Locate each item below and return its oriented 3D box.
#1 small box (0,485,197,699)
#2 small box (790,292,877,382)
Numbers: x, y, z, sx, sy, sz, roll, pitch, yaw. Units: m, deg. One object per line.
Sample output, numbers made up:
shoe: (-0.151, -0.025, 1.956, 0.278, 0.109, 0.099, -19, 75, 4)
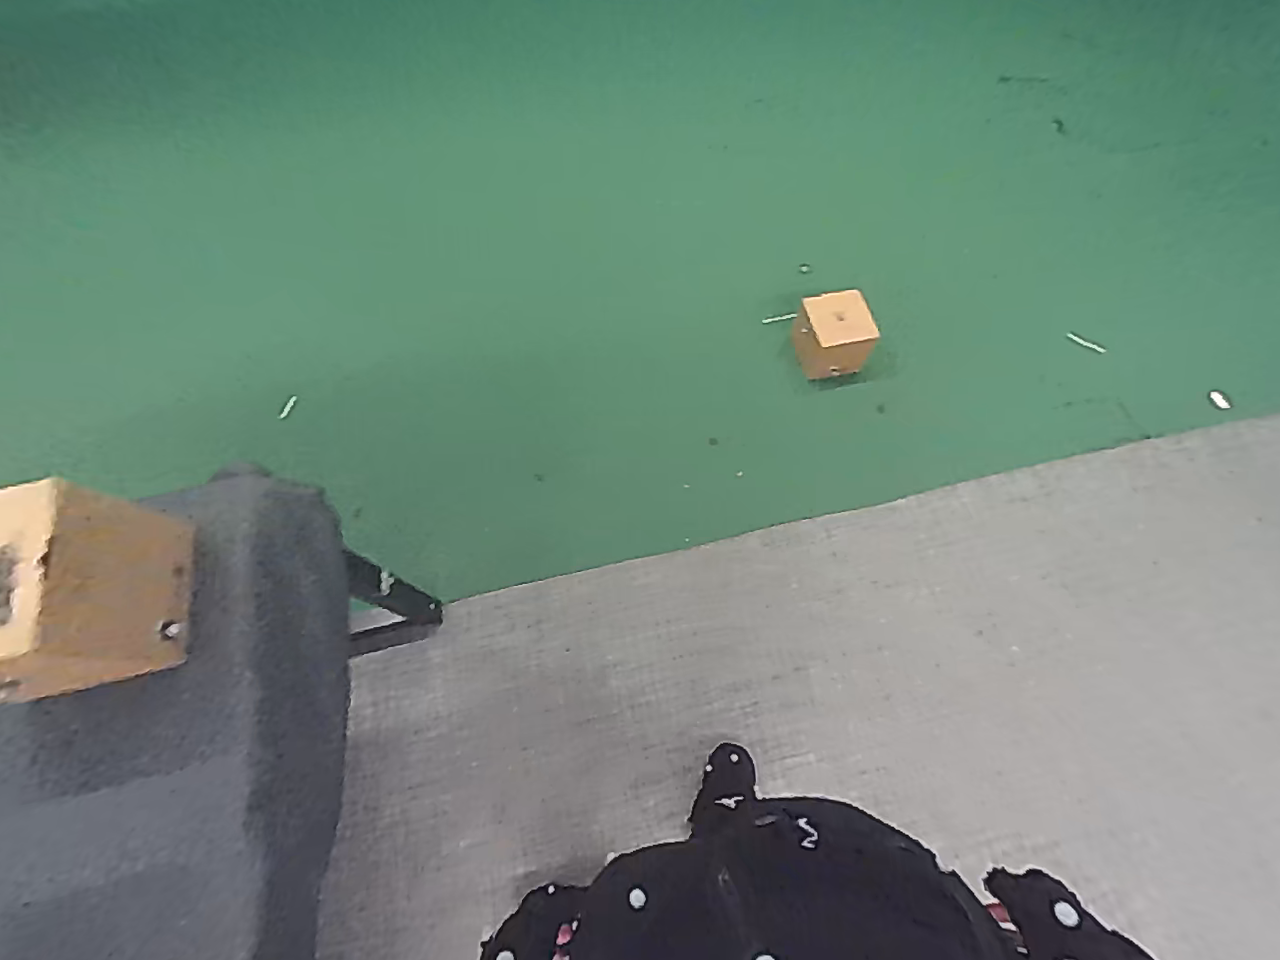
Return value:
small box: (-0.612, 0.124, 0.563, 0.179, 0.176, 0.168, -13, 68, -3)
small box: (0.555, -0.414, 1.578, 0.168, 0.176, 0.179, -12, 67, -3)
